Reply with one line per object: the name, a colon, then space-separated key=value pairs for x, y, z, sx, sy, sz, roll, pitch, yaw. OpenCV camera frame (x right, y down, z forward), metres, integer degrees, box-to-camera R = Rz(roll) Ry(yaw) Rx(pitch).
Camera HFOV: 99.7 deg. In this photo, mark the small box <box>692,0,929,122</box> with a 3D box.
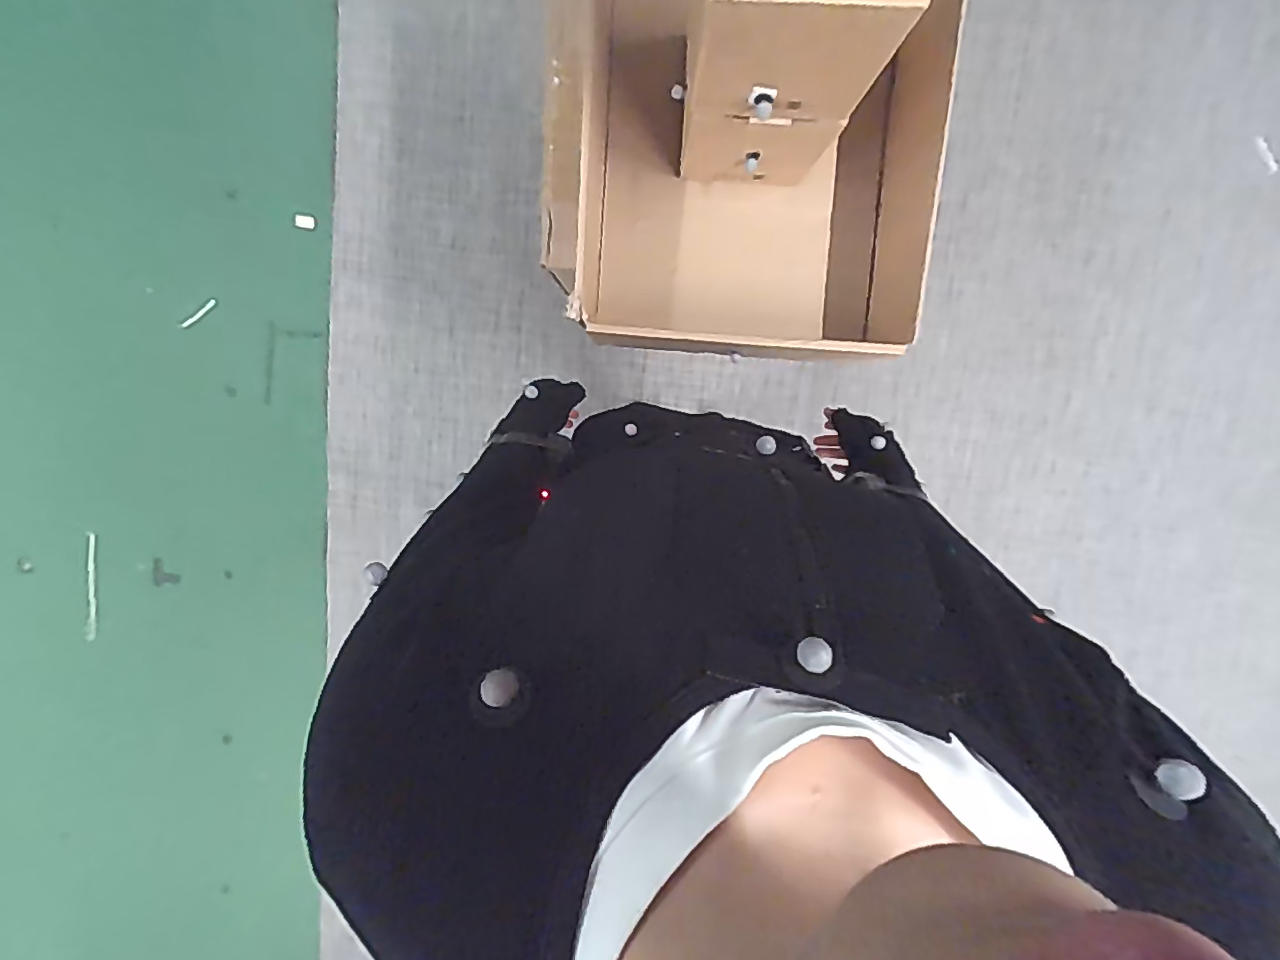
small box: x=0.135 y=-0.447 z=0.465 sx=0.168 sy=0.176 sz=0.179 roll=2 pitch=99 yaw=0
